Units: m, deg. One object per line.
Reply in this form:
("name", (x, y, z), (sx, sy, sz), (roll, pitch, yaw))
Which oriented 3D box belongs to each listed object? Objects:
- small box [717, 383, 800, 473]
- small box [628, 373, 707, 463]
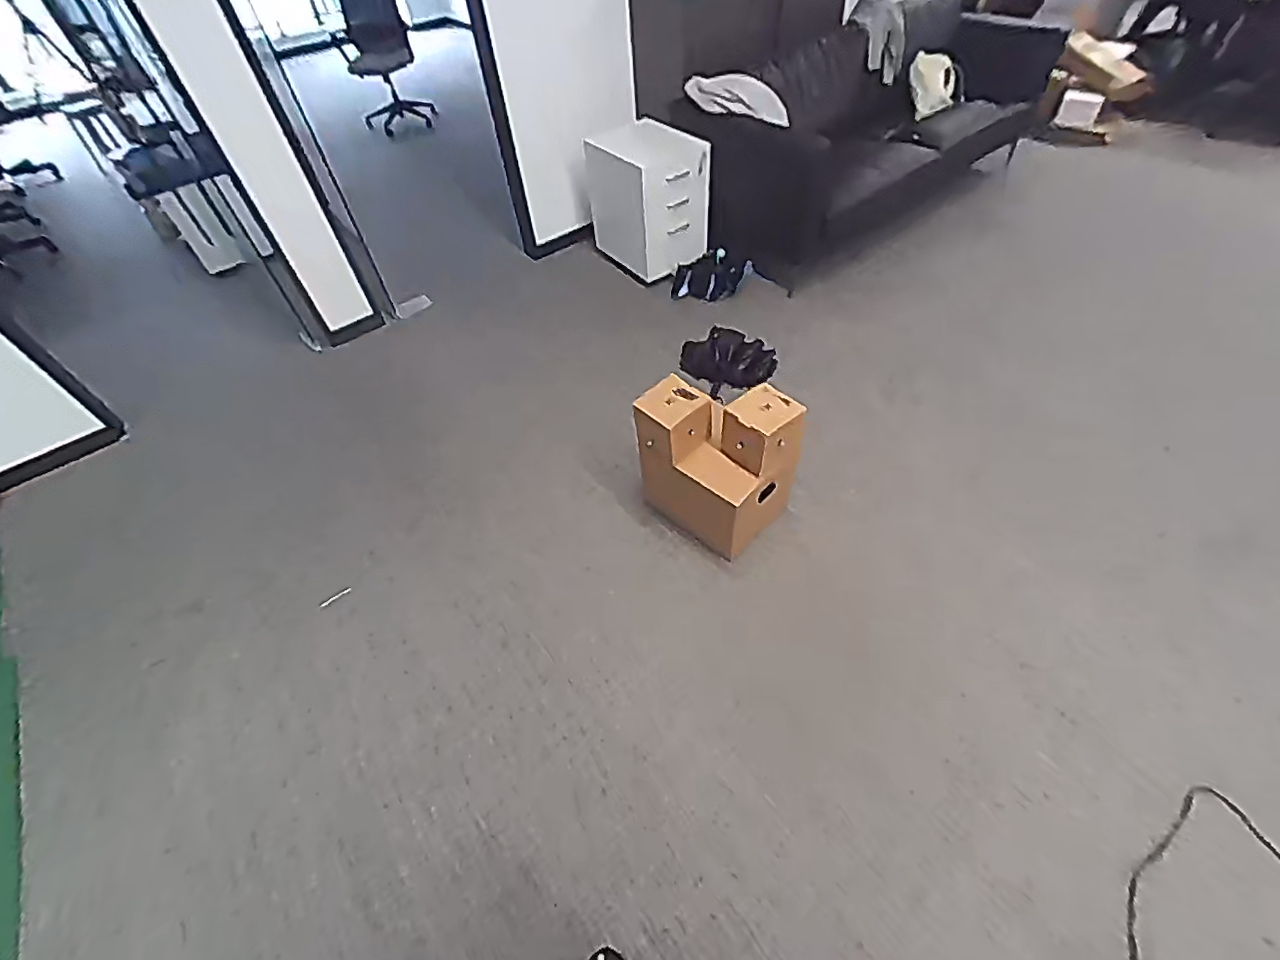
("small box", (0.345, -0.152, 1.607), (0.179, 0.176, 0.168), (-33, 55, -24))
("small box", (0.085, -0.188, 1.656), (0.179, 0.176, 0.168), (-38, 57, -21))
